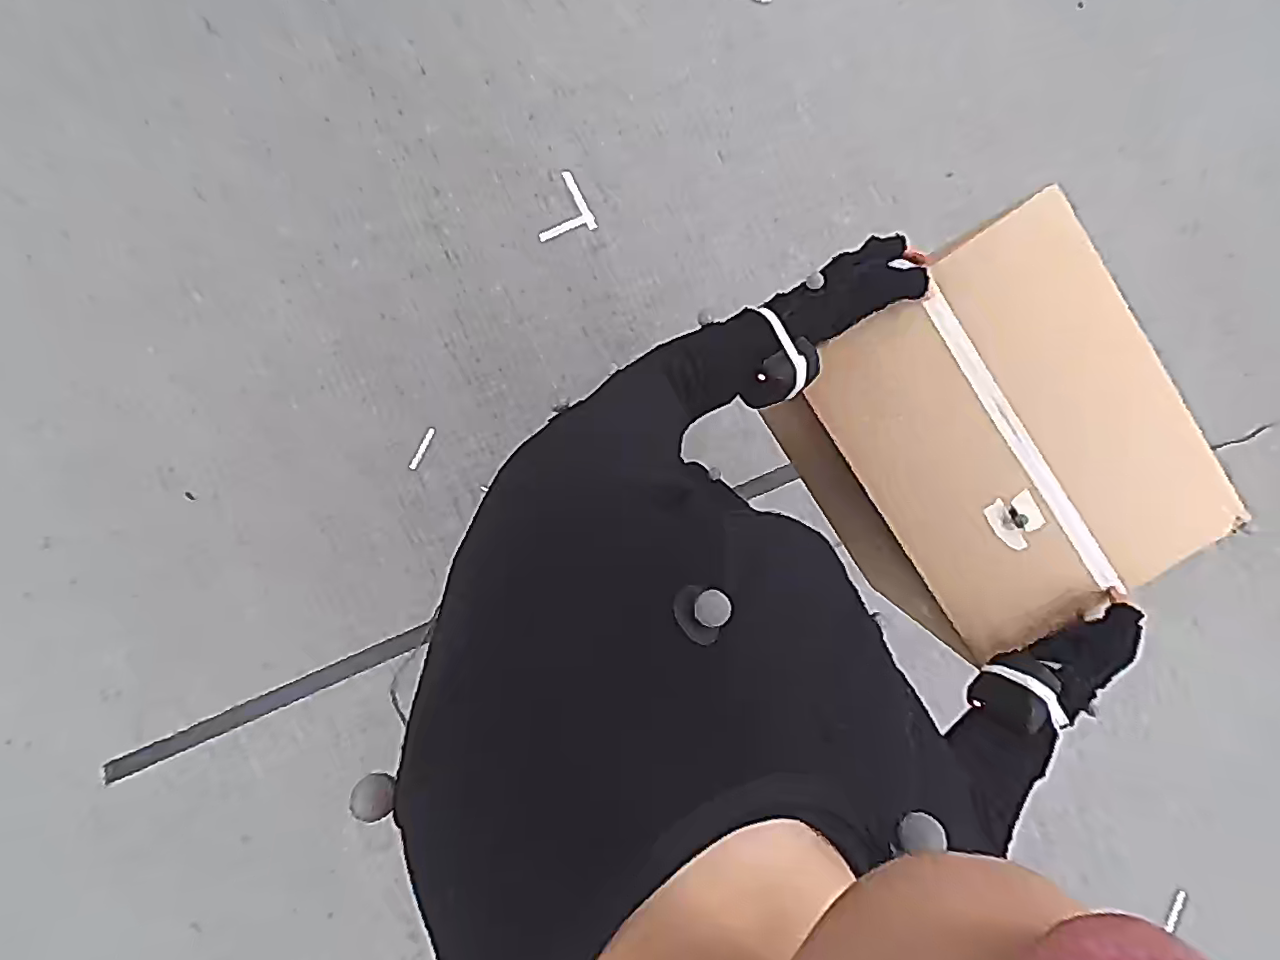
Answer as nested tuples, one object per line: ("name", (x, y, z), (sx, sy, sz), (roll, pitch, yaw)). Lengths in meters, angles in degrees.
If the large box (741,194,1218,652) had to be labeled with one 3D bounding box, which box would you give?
("large box", (0.389, -0.068, 0.724), (0.320, 0.320, 0.408), (-34, 96, 7))
